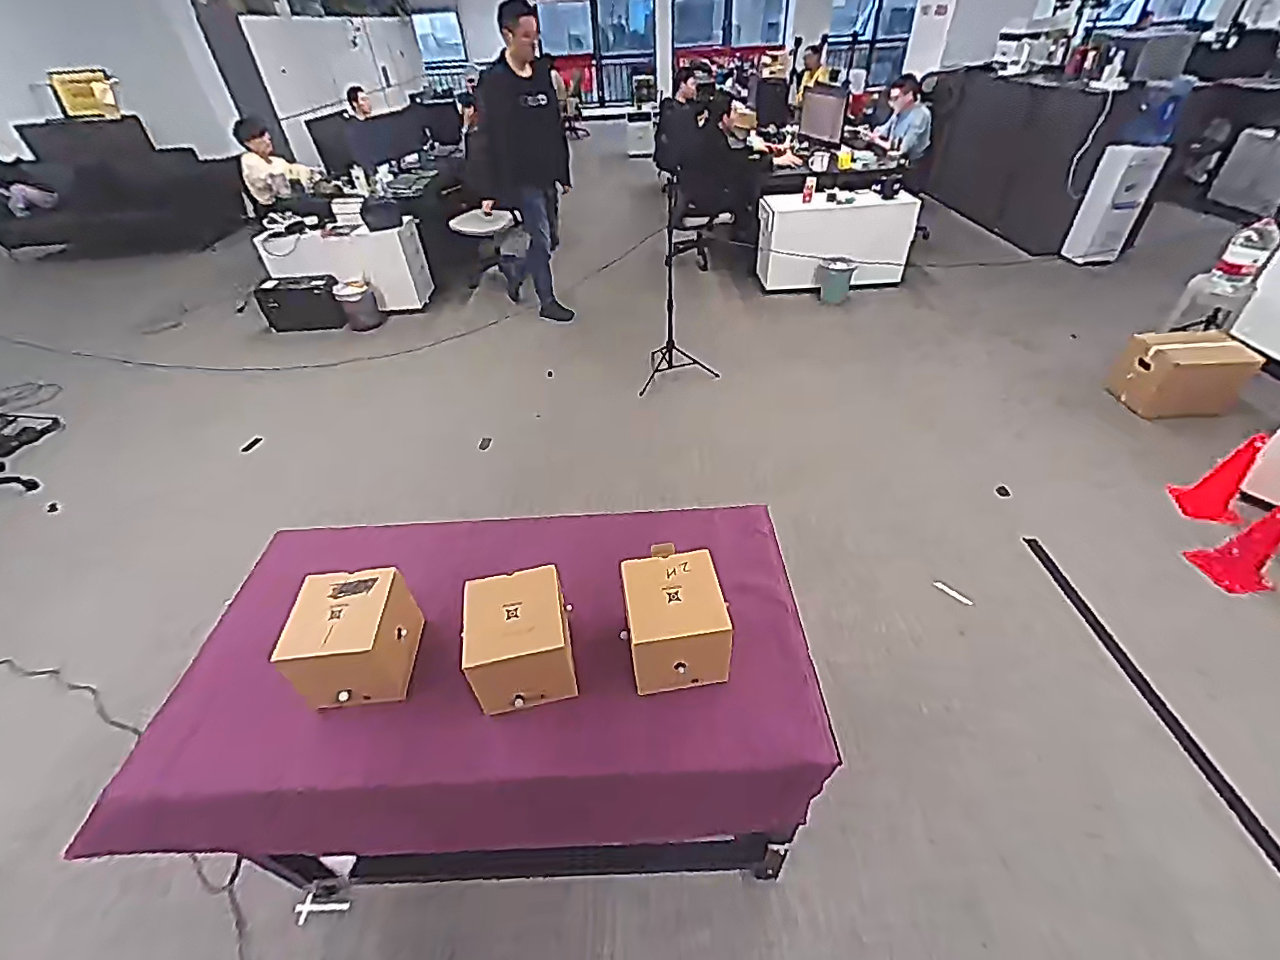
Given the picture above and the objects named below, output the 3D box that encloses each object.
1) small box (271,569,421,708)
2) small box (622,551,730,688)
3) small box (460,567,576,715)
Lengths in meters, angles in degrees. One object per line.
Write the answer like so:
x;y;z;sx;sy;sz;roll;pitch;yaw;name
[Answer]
-0.518;0.288;0.987;0.168;0.176;0.179;-6;41;-2;small box
0.062;0.256;0.977;0.168;0.176;0.179;-7;40;-4;small box
-0.213;0.286;0.967;0.168;0.176;0.179;-10;41;-6;small box
